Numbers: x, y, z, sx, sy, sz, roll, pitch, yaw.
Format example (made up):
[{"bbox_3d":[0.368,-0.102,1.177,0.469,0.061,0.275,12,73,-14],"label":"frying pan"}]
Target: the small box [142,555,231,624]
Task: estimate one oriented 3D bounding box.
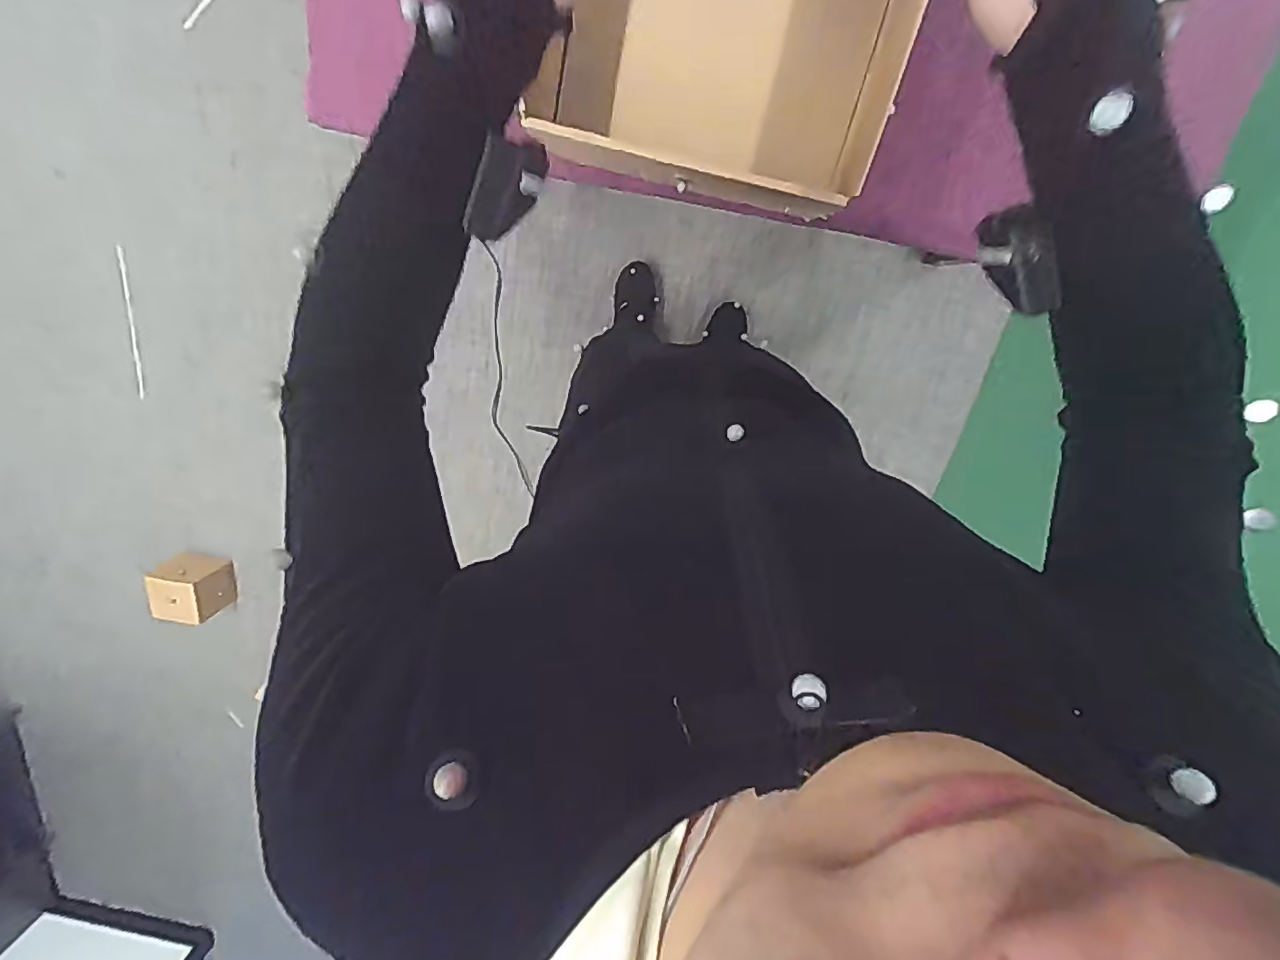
[{"bbox_3d":[-1.573,0.378,1.891,0.179,0.176,0.168,9,109,3],"label":"small box"}]
